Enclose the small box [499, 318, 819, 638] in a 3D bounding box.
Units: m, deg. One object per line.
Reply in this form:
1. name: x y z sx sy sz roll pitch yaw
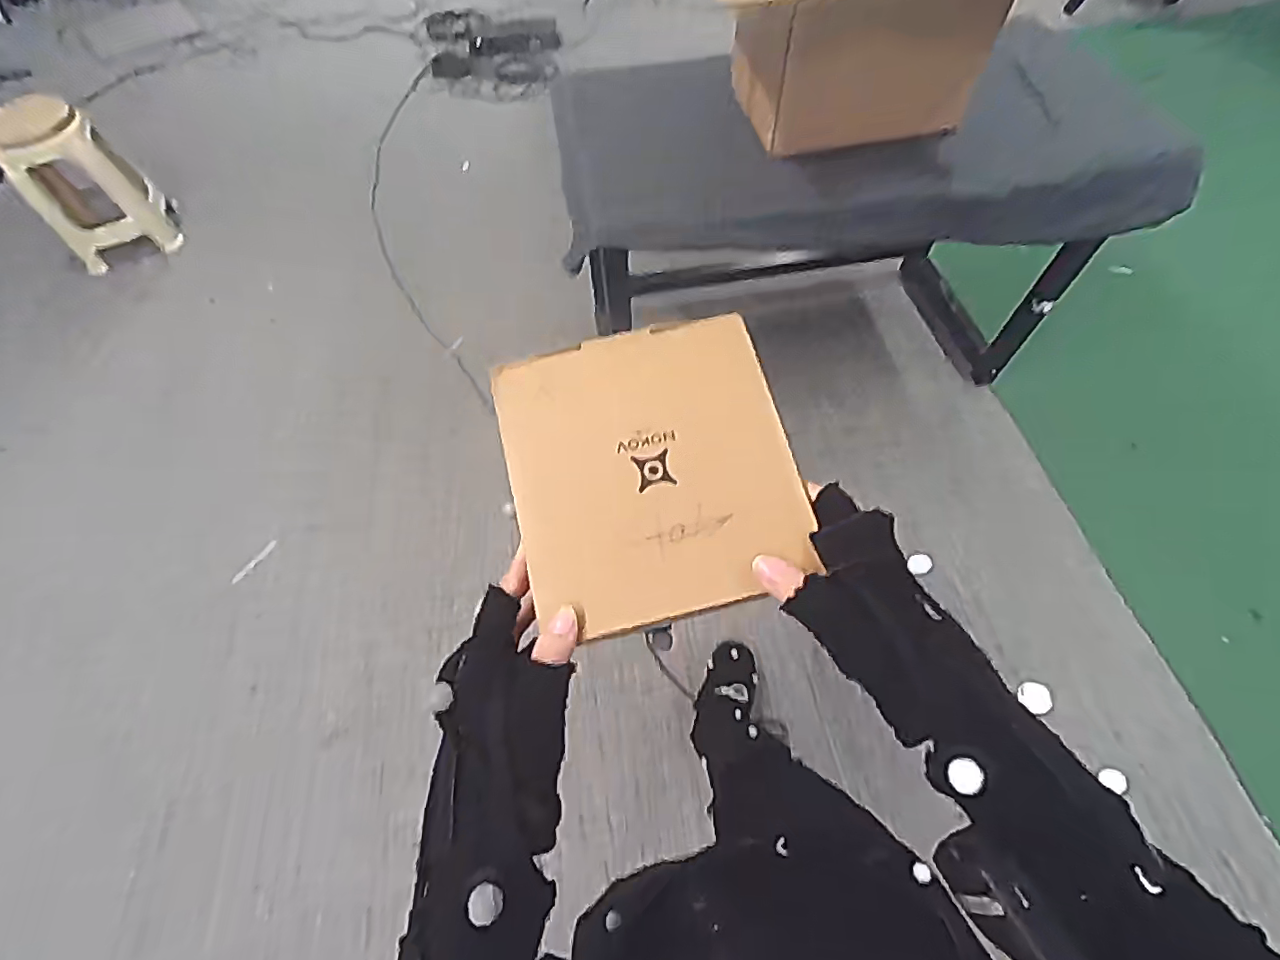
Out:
1. small box: 0.004 0.012 0.406 0.168 0.176 0.179 -13 73 -5
